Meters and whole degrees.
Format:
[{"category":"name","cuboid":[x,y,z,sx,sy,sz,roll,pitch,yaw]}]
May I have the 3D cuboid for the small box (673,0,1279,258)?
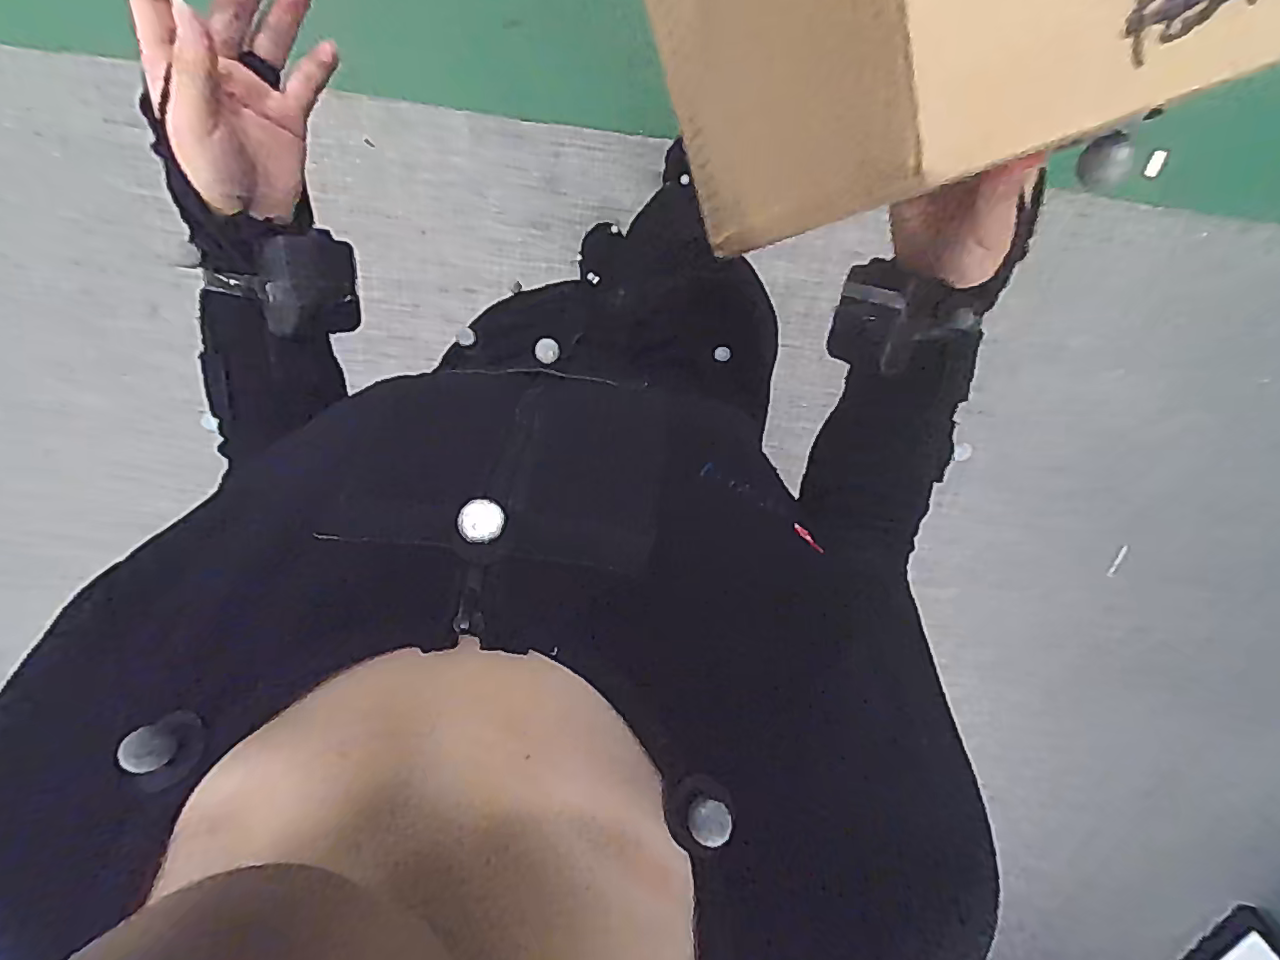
[{"category":"small box","cuboid":[0.109,-0.192,0.179,0.168,0.176,0.179,-19,108,-1]}]
